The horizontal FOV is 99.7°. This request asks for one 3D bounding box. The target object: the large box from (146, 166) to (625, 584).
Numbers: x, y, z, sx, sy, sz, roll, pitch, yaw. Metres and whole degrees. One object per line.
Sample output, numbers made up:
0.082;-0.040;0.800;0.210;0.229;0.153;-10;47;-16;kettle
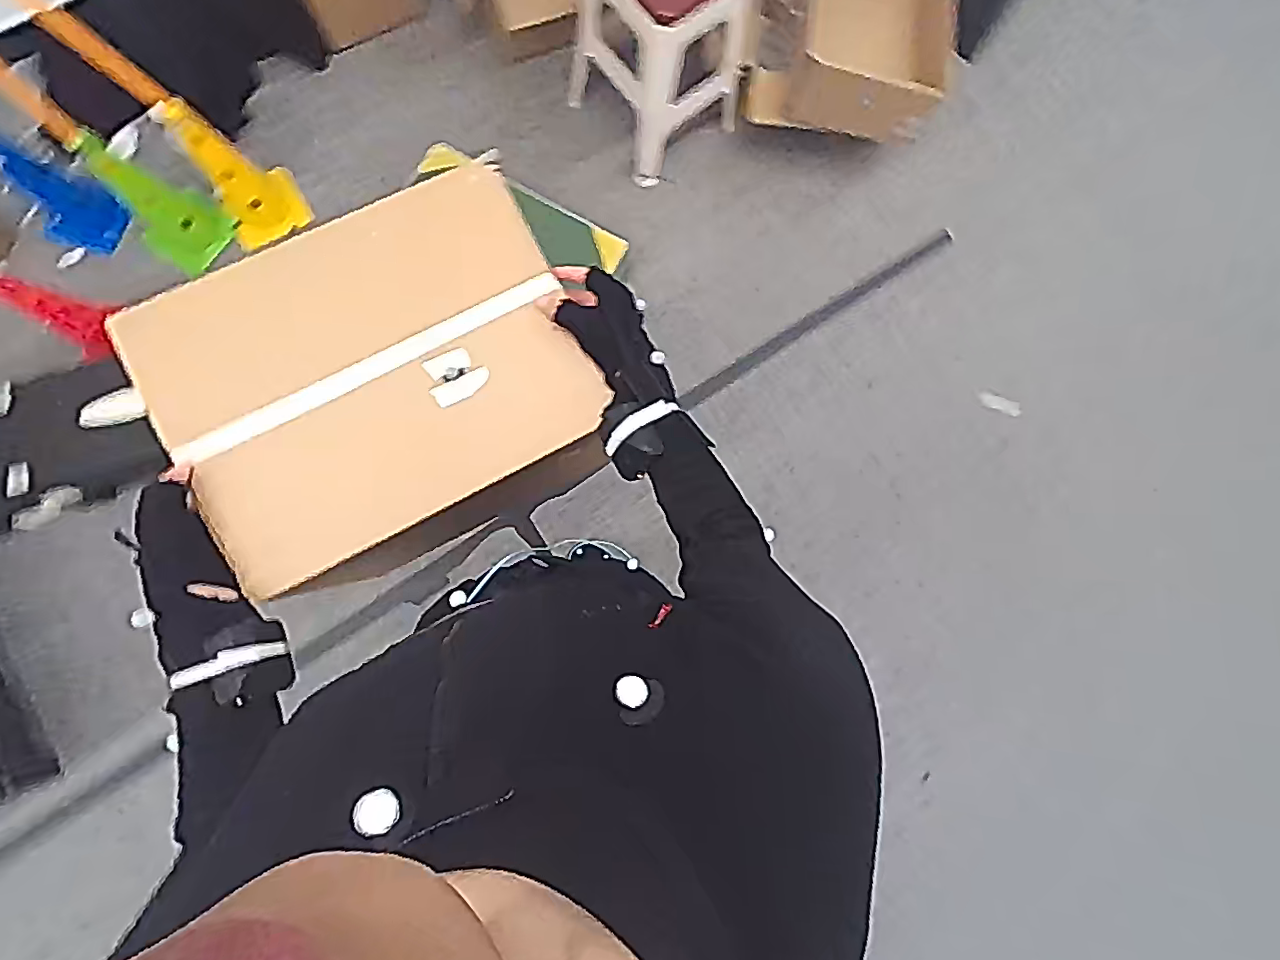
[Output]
-0.271;-0.104;0.707;0.408;0.320;0.320;-28;88;-7;large box
